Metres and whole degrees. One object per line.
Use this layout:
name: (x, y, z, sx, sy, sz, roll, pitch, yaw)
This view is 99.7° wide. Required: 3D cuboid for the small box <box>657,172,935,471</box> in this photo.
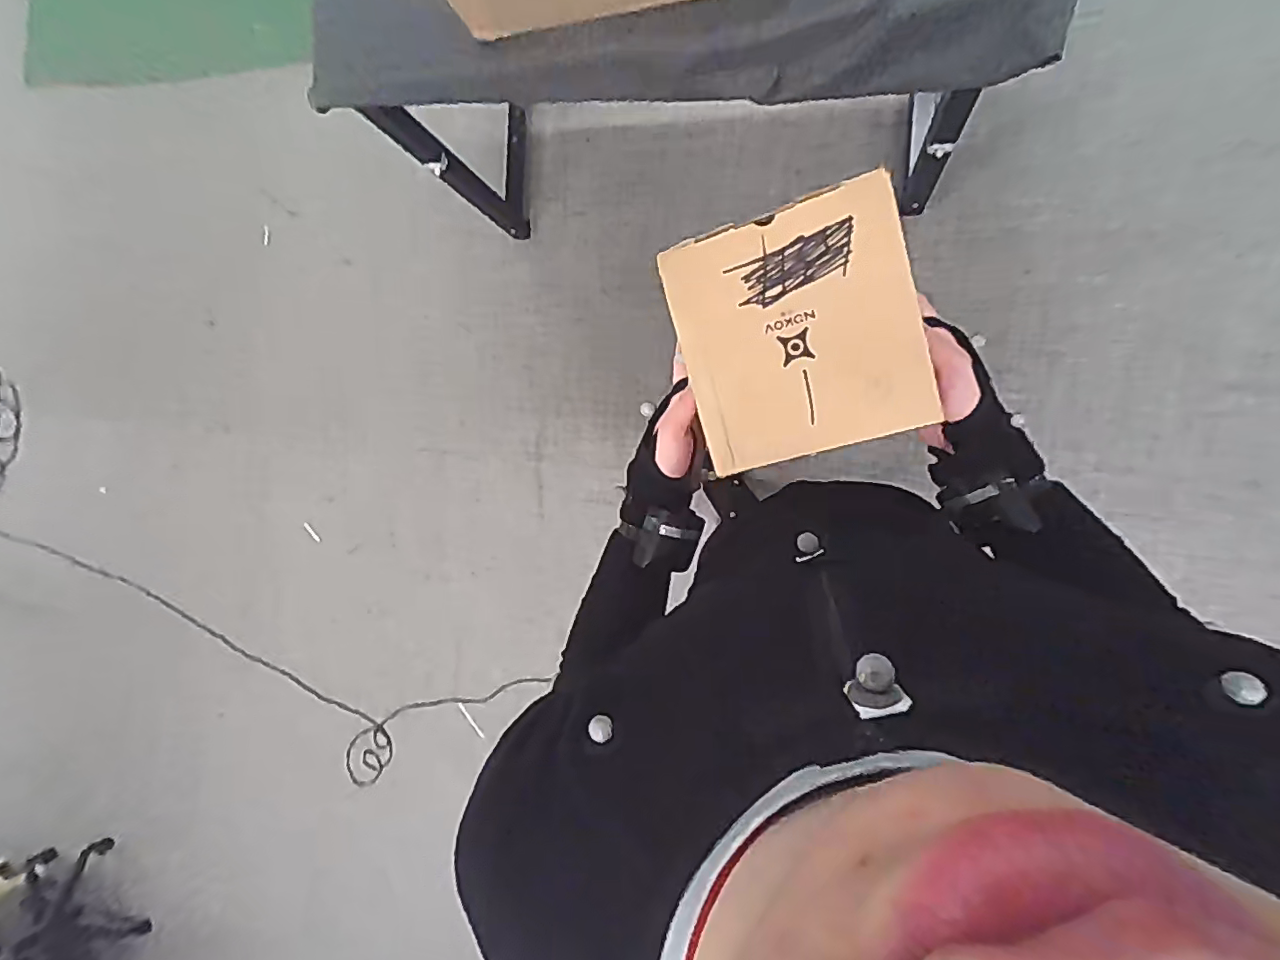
small box: (0.128, -0.119, 0.465, 0.168, 0.176, 0.179, -14, 97, 18)
